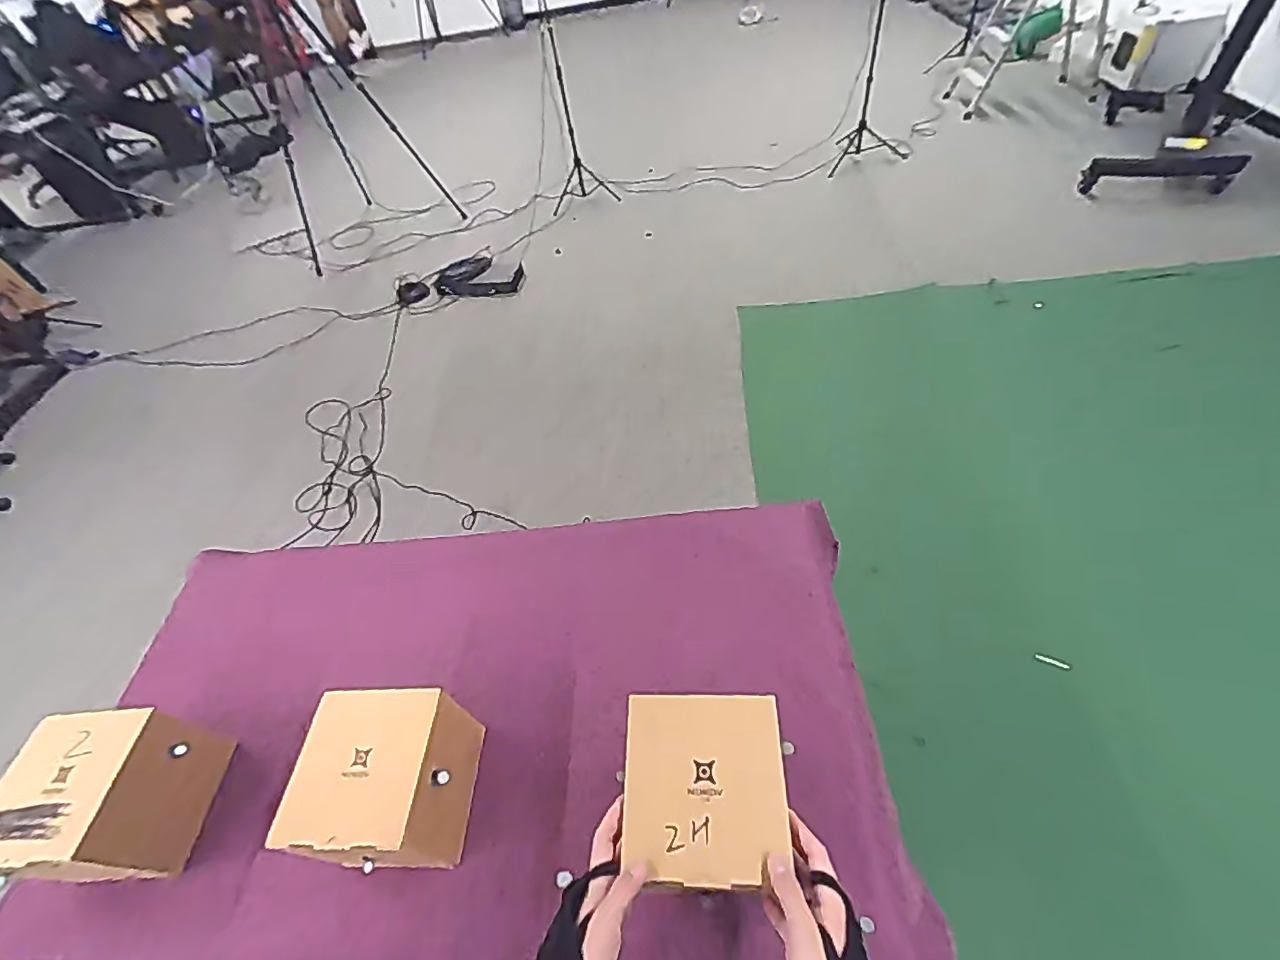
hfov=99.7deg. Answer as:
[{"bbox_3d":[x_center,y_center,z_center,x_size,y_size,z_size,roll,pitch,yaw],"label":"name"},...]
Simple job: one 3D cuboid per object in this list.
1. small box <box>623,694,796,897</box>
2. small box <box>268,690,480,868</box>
[{"bbox_3d":[0.076,0.361,0.619,0.168,0.176,0.179,-2,52,7],"label":"small box"},{"bbox_3d":[-0.325,0.392,0.709,0.168,0.176,0.179,-3,50,6],"label":"small box"}]
